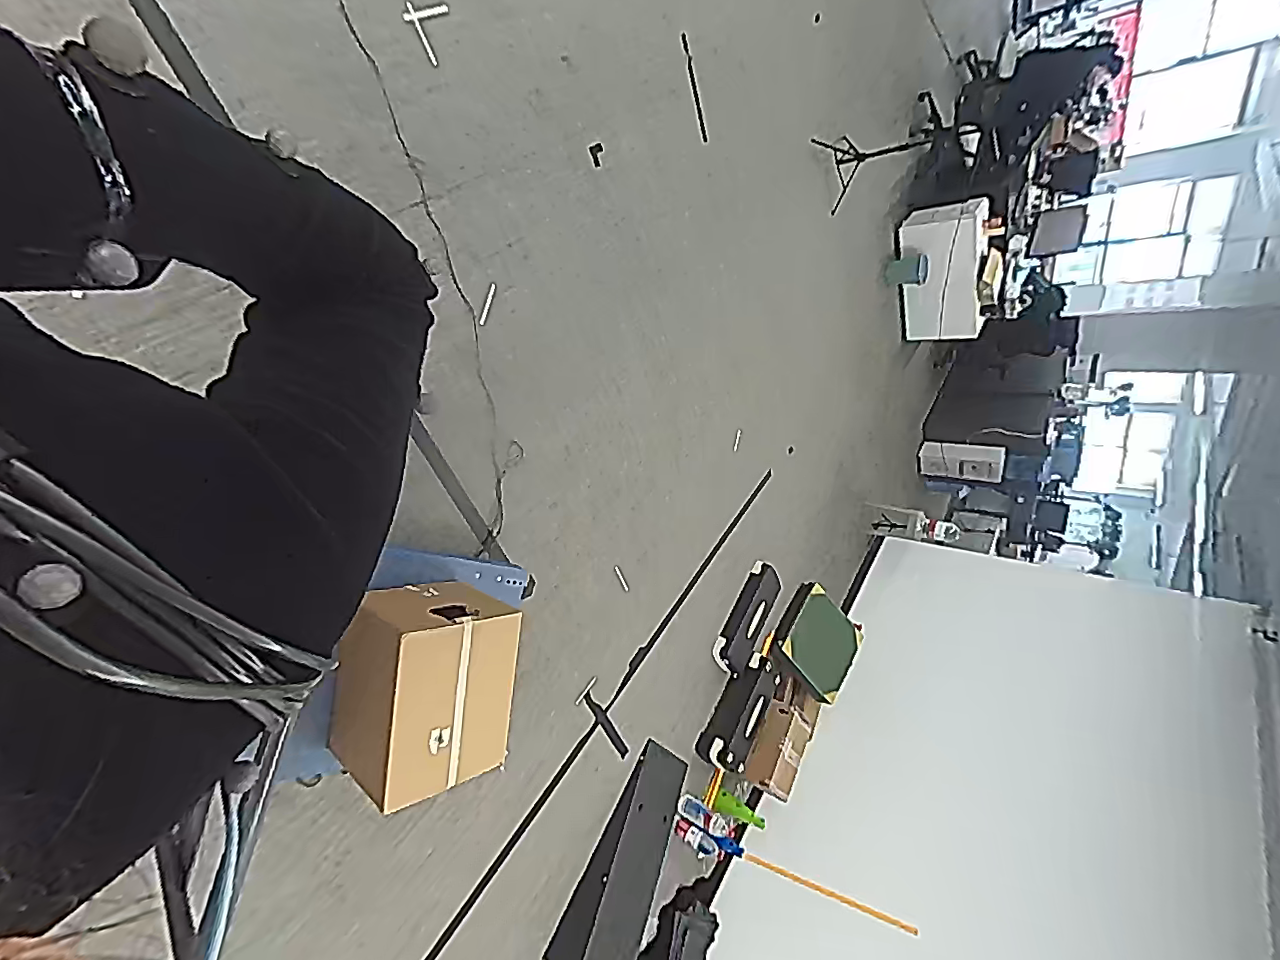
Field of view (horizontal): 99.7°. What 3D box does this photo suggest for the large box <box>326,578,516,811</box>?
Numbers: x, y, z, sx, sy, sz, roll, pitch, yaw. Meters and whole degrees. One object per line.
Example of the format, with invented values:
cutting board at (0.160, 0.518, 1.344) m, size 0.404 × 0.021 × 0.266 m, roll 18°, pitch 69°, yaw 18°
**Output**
large box at (-0.544, 0.491, 1.341) m, size 0.320 × 0.320 × 0.408 m, roll 4°, pitch 96°, yaw -49°
